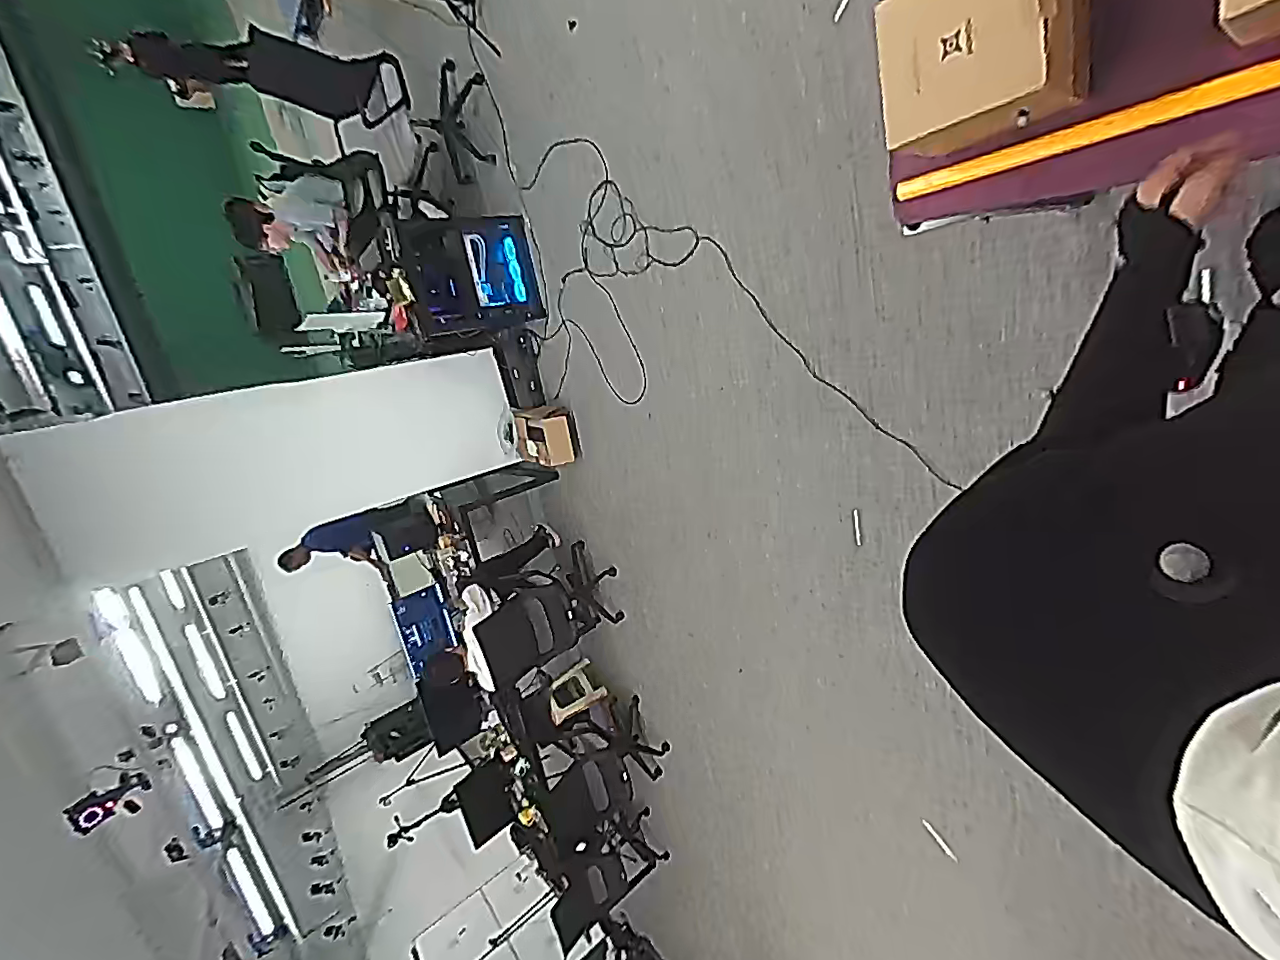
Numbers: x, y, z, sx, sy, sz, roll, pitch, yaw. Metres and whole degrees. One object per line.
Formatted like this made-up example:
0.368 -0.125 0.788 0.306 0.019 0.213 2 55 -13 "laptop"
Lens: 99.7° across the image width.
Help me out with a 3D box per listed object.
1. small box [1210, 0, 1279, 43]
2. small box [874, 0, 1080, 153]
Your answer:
0.598 -0.496 0.432 0.179 0.176 0.168 7 113 52 "small box"
0.417 -0.525 0.663 0.179 0.176 0.168 6 112 50 "small box"
